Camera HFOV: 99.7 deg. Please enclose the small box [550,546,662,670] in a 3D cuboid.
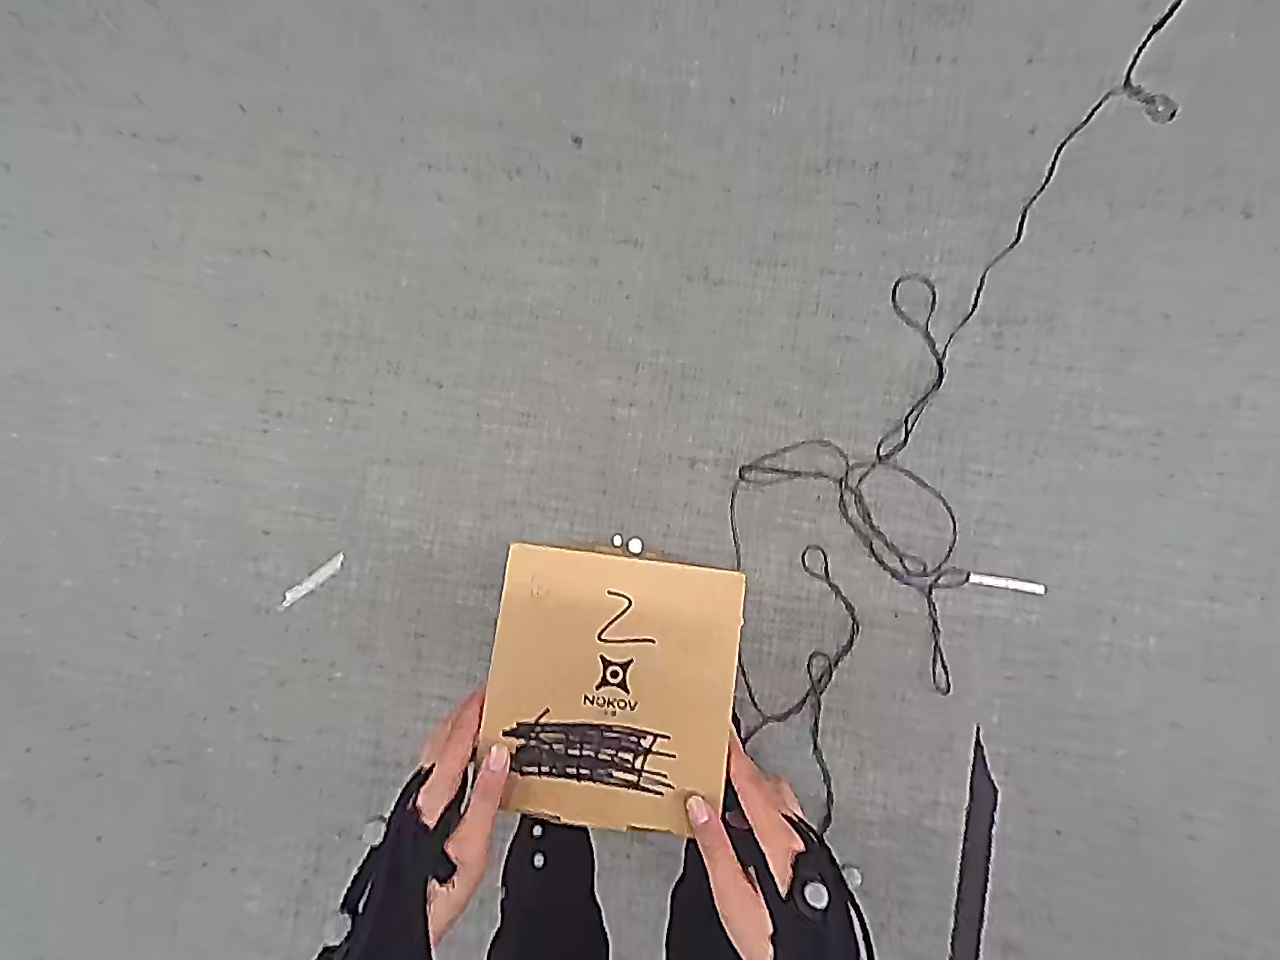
[{"bbox_3d":[-0.051,0.216,0.958,0.168,0.176,0.179,6,86,4],"label":"small box"}]
